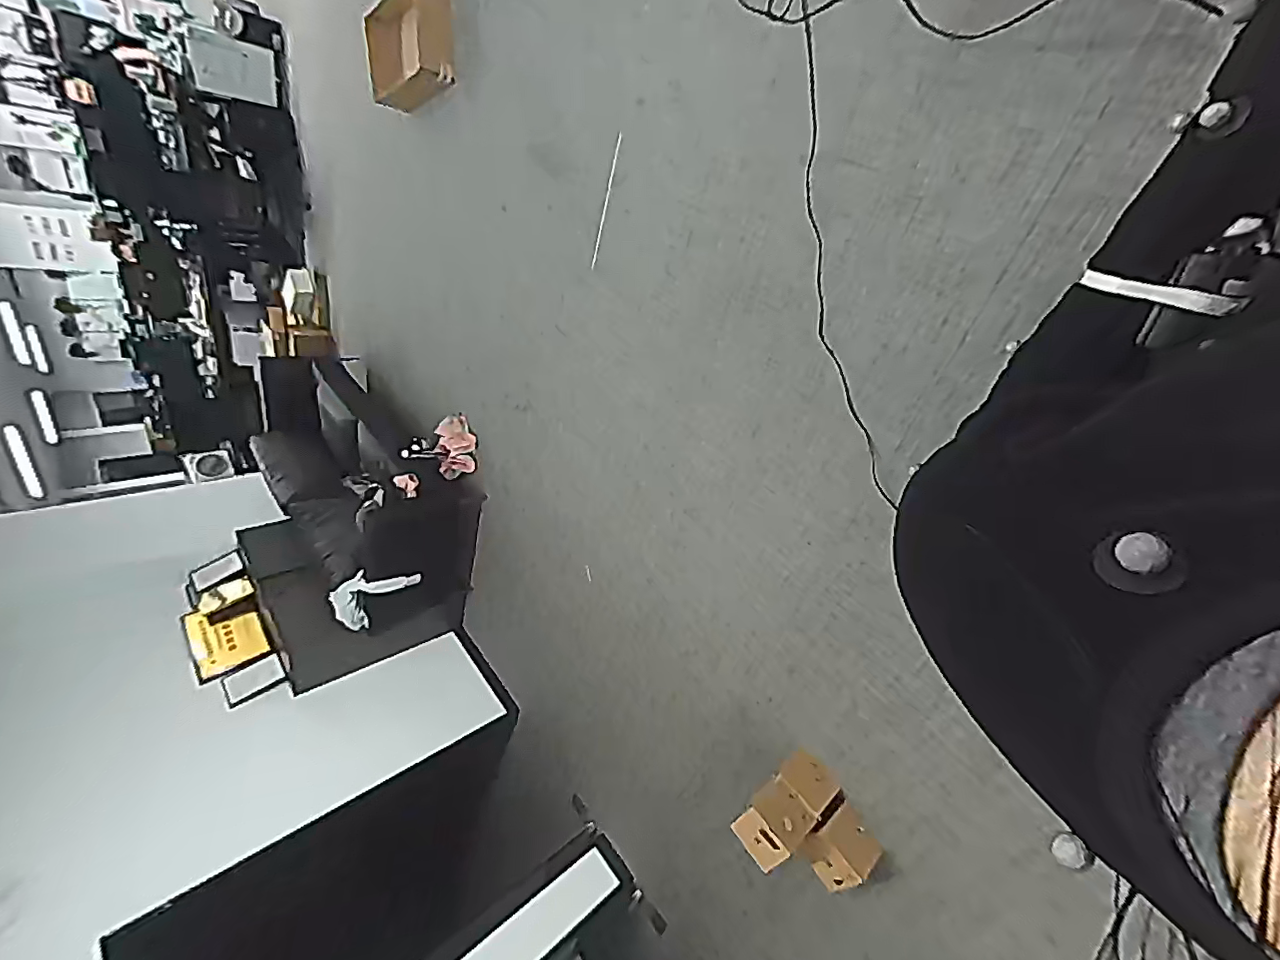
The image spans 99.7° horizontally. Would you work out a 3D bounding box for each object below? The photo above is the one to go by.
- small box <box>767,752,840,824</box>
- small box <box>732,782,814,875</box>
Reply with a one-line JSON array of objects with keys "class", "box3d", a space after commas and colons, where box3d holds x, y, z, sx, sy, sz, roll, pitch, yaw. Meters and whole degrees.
[{"class": "small box", "box3d": [0.564, 1.097, 1.883, 0.168, 0.176, 0.179, 41, 127, 32]}, {"class": "small box", "box3d": [0.443, 1.139, 1.778, 0.168, 0.176, 0.179, 46, 130, 28]}]
